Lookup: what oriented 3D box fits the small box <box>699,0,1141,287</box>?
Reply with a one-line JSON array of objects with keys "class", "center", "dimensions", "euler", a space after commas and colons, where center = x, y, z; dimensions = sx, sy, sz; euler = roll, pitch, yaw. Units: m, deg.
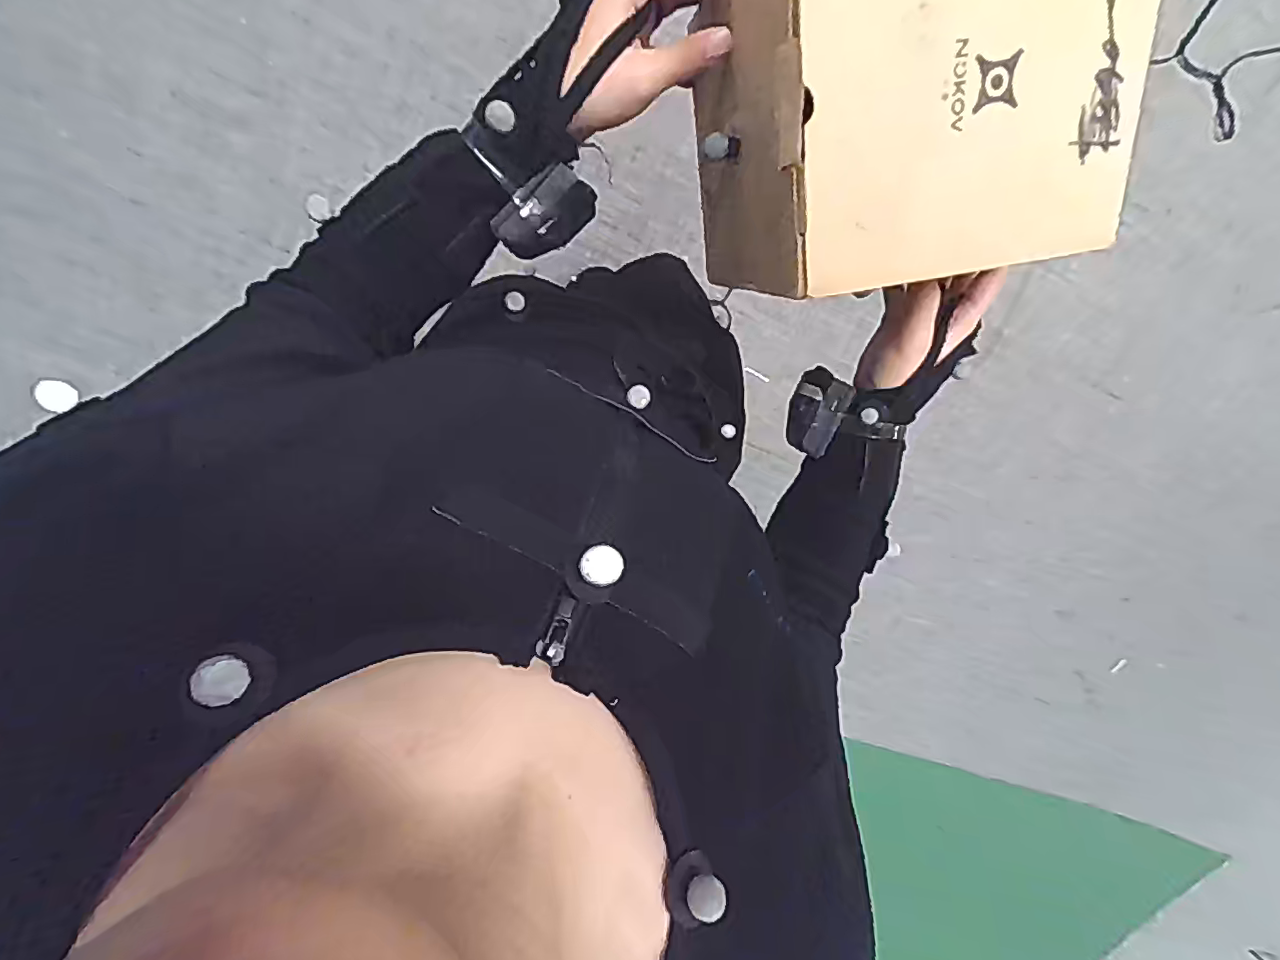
[{"class": "small box", "center": [0.139, -0.214, 0.326], "dimensions": [0.179, 0.176, 0.168], "euler": [-11, 113, -5]}]
